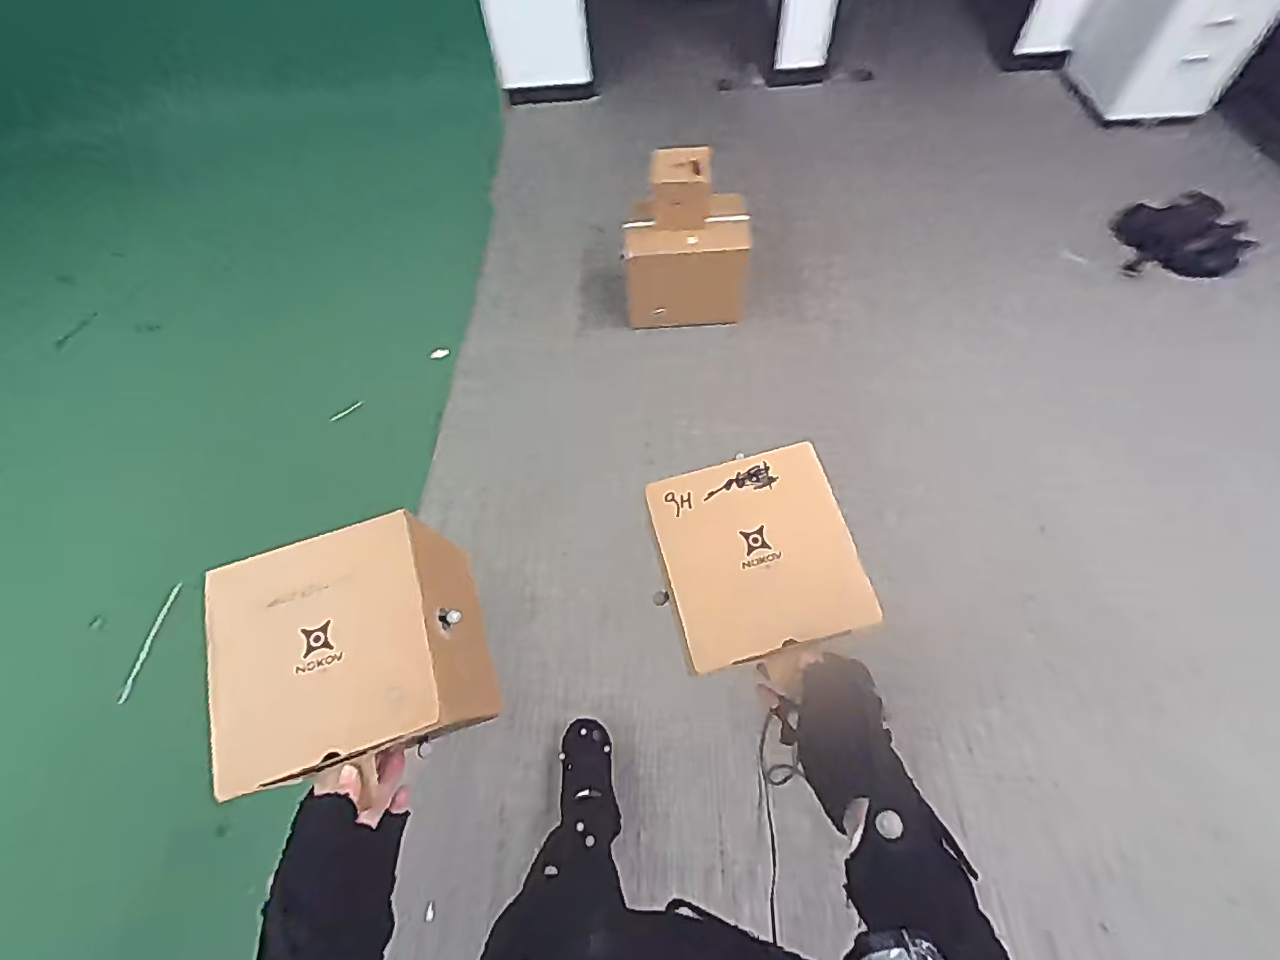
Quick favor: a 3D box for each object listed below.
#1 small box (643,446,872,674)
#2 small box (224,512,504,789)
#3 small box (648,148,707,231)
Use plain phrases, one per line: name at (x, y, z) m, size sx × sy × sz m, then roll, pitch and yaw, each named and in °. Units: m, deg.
small box at (0.106, 0.090, 0.560) m, size 0.168 × 0.176 × 0.179 m, roll -14°, pitch 71°, yaw -2°
small box at (-0.242, 0.155, 0.506) m, size 0.168 × 0.176 × 0.179 m, roll -19°, pitch 69°, yaw -4°
small box at (0.114, -0.920, 1.722) m, size 0.179 × 0.176 × 0.168 m, roll -3°, pitch 65°, yaw 2°
